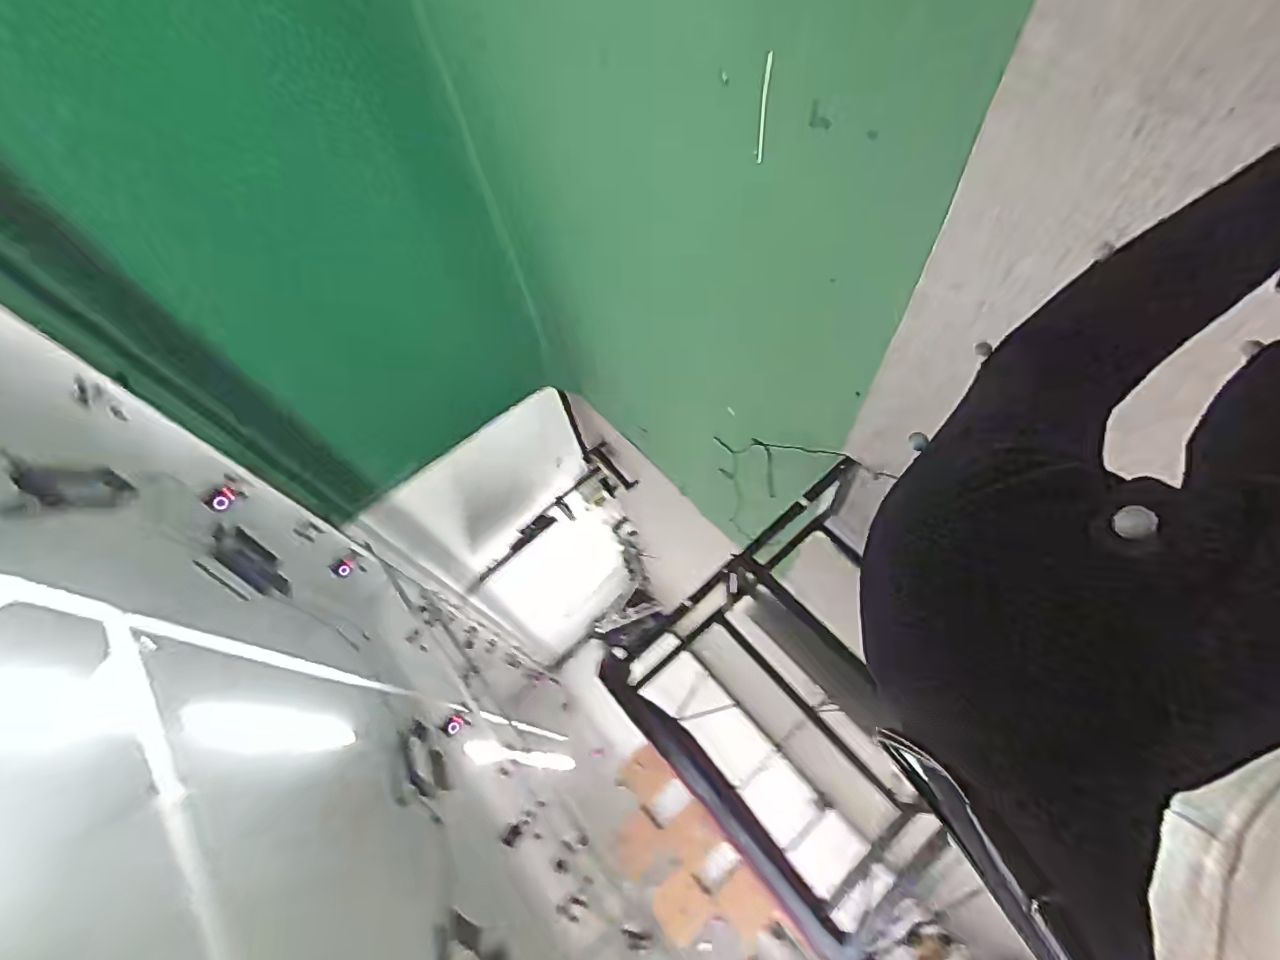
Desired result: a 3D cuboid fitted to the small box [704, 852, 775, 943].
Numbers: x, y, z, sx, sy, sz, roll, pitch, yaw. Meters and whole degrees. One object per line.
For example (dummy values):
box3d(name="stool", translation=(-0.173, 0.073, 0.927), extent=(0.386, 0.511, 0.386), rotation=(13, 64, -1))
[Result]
box3d(name="small box", translation=(0.339, 1.427, 1.865), extent=(0.179, 0.176, 0.168), rotation=(47, 166, 26))

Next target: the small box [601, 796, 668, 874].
box3d(name="small box", translation=(-0.018, 1.291, 1.986), extent=(0.179, 0.176, 0.168), rotation=(45, 166, 25))

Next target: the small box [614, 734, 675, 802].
box3d(name="small box", translation=(0.022, 1.106, 2.090), extent=(0.168, 0.176, 0.179), rotation=(47, 167, 23))

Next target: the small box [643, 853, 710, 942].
box3d(name="small box", translation=(0.132, 1.441, 1.882), extent=(0.168, 0.176, 0.179), rotation=(45, 165, 24))
